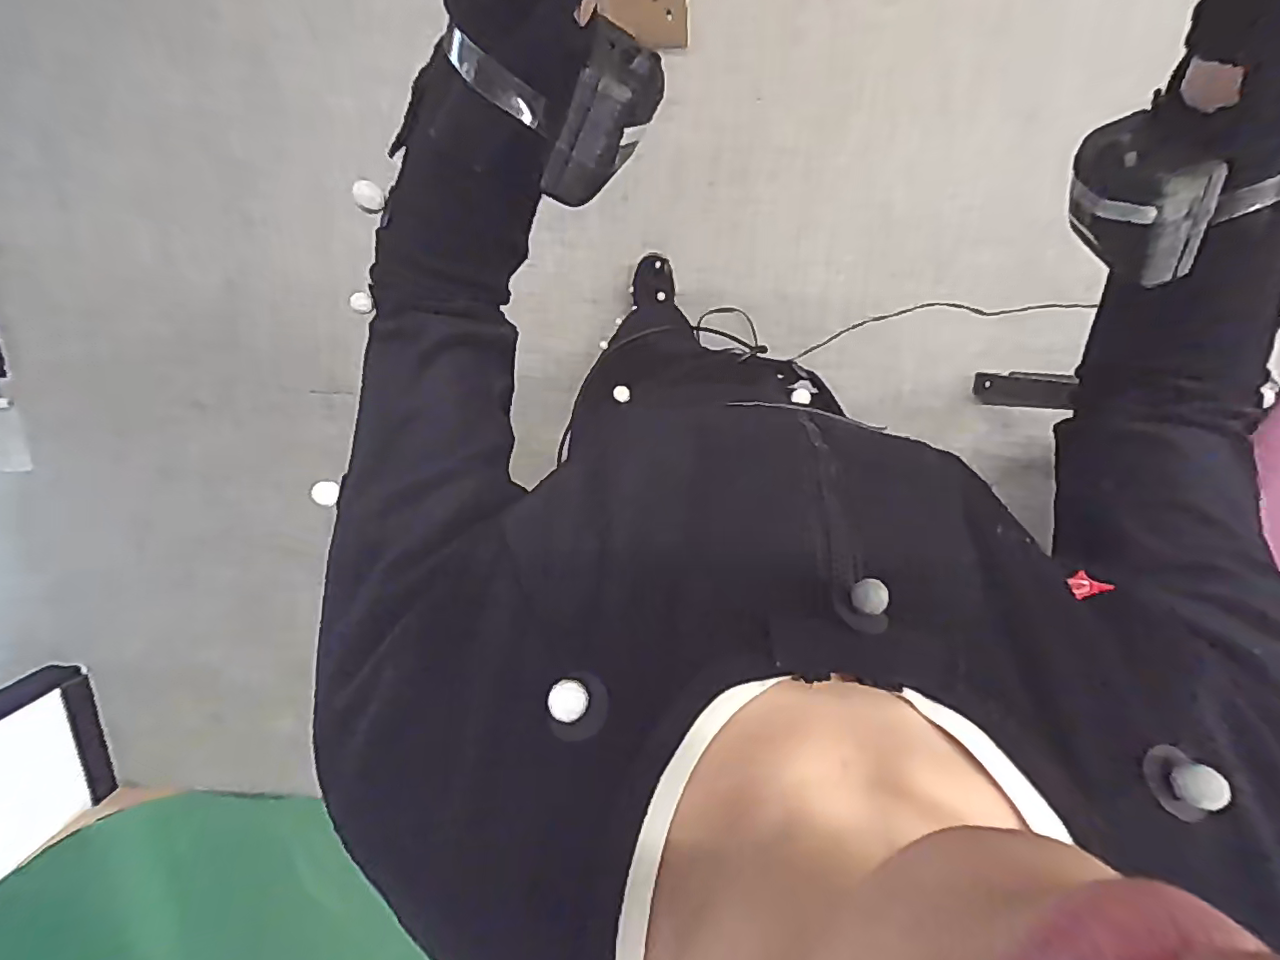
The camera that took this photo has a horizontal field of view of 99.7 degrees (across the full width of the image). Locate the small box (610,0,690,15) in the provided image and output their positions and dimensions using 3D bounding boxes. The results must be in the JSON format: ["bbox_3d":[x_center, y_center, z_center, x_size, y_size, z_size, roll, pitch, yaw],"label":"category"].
[{"bbox_3d":[0.018,-1.005,0.987,0.168,0.176,0.179,3,103,3],"label":"small box"}]

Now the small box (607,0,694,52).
[{"bbox_3d":[0.028,-1.045,1.147,0.179,0.176,0.168,3,104,3],"label":"small box"}]
